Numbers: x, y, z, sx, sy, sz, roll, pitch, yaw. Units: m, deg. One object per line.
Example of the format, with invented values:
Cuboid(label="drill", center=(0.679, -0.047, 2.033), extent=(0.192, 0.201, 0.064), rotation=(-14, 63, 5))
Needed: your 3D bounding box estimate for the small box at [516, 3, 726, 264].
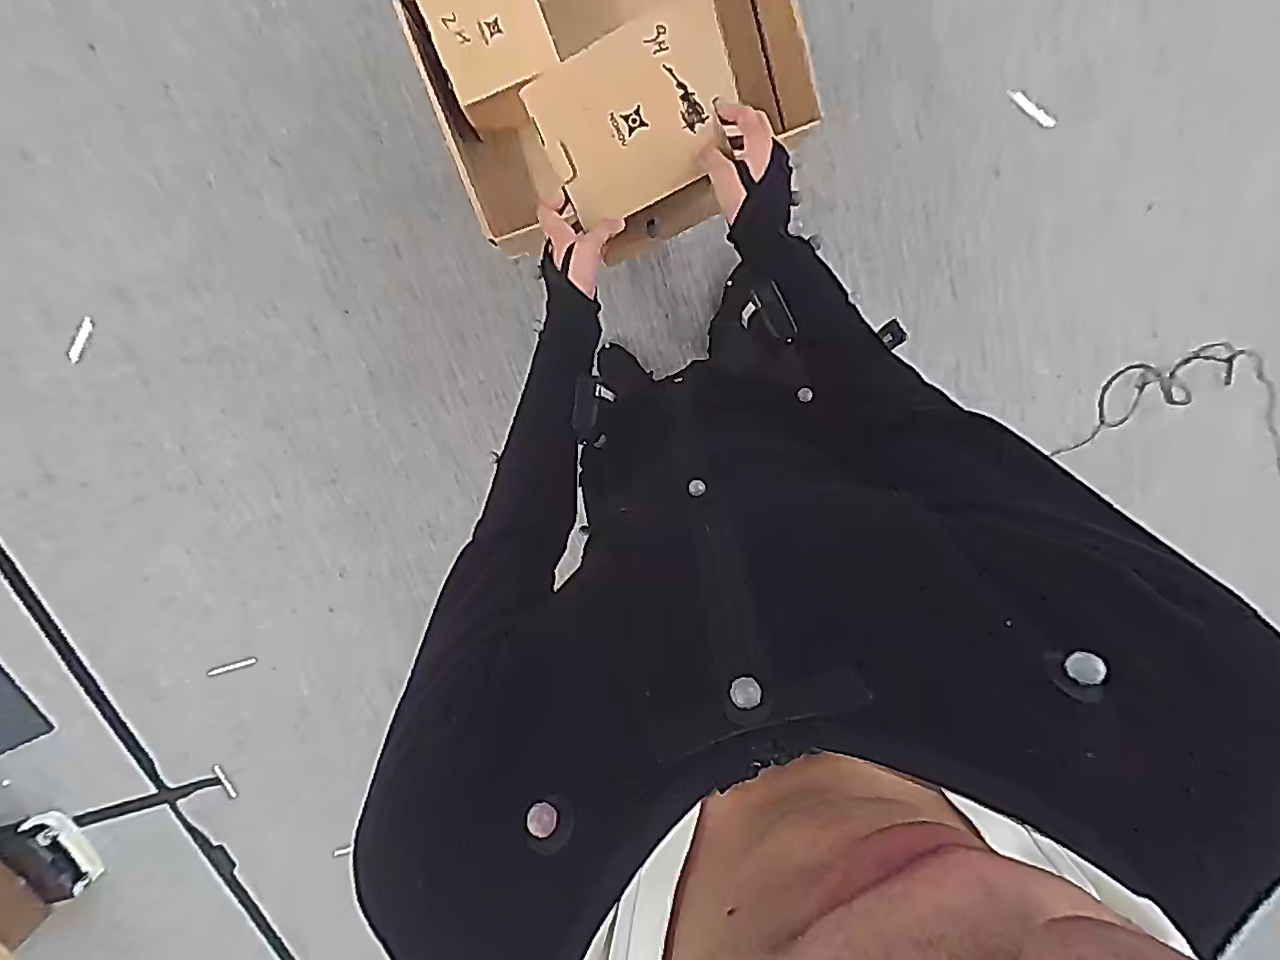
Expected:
Cuboid(label="small box", center=(-0.012, -0.378, 0.633), extent=(0.179, 0.176, 0.168), rotation=(-24, 98, 9))

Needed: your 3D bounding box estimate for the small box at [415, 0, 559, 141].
Cuboid(label="small box", center=(-0.240, -0.710, 0.910), extent=(0.179, 0.176, 0.168), rotation=(-21, 105, 2))
